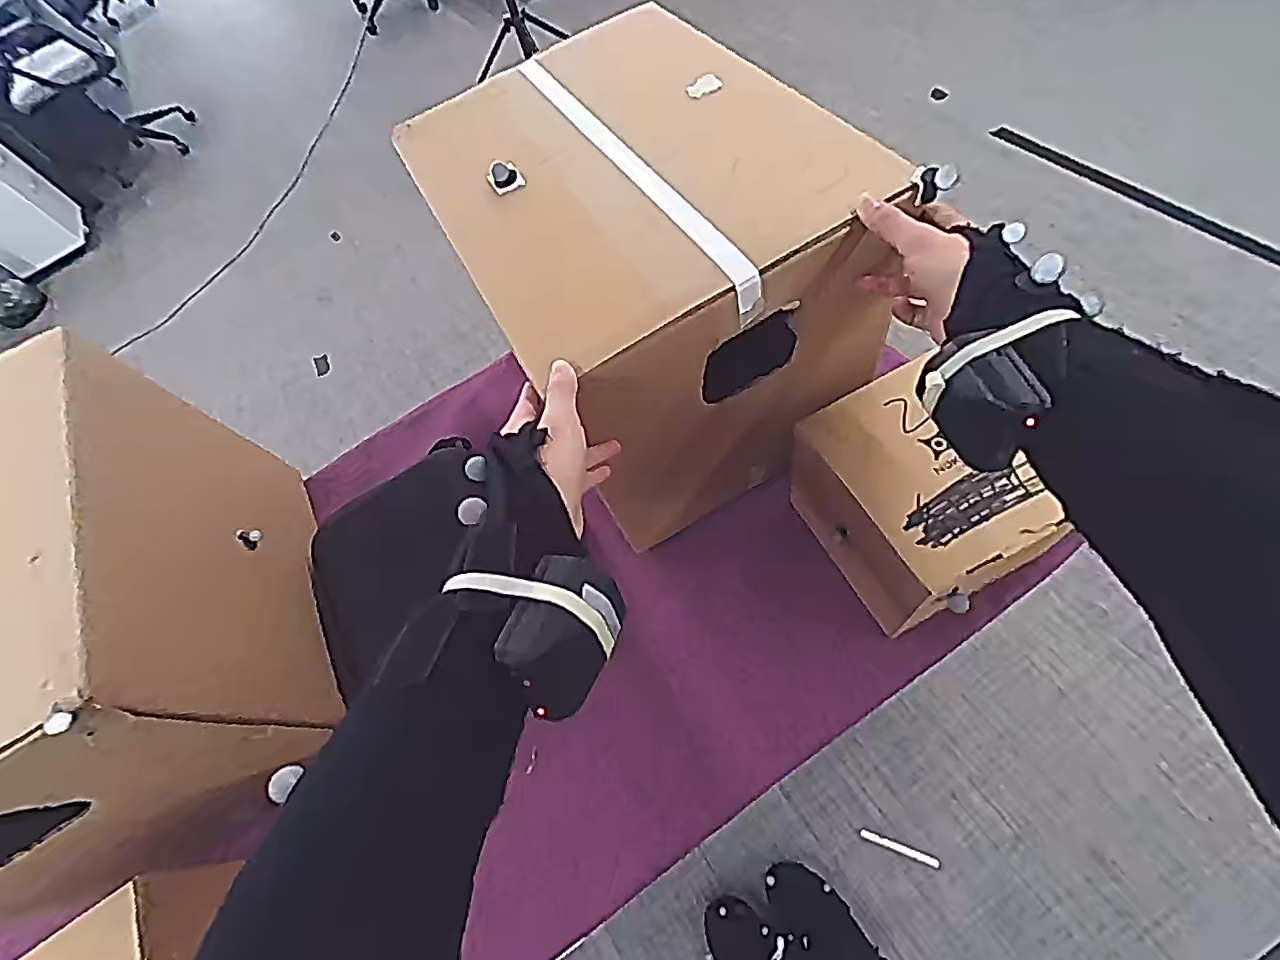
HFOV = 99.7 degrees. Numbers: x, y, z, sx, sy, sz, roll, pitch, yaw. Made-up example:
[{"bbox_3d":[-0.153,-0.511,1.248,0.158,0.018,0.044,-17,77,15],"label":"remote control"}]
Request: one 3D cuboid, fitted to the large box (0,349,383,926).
[{"bbox_3d":[-0.543,0.155,0.555,0.320,0.320,0.408,-34,63,-5],"label":"large box"}]
